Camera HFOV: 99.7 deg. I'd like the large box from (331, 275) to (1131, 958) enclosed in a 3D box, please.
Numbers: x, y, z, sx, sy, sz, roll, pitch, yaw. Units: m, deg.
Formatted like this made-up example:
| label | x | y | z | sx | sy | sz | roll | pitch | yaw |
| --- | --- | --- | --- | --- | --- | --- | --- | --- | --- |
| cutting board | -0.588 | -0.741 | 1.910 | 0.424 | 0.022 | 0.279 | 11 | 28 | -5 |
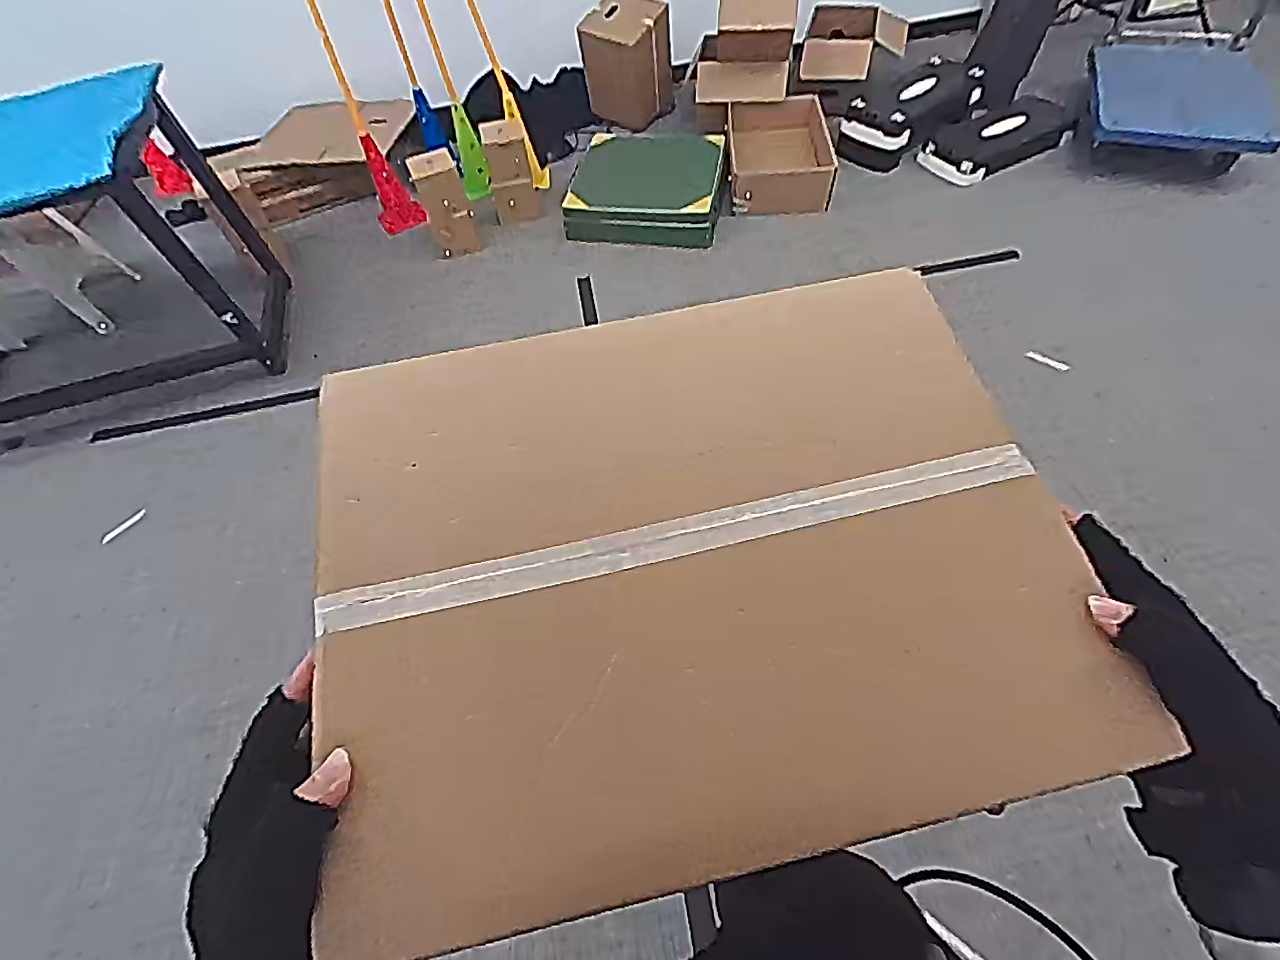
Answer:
| label | x | y | z | sx | sy | sz | roll | pitch | yaw |
| --- | --- | --- | --- | --- | --- | --- | --- | --- | --- |
| large box | 0.028 | 0.091 | 0.450 | 0.408 | 0.320 | 0.320 | -13 | 66 | -4 |
